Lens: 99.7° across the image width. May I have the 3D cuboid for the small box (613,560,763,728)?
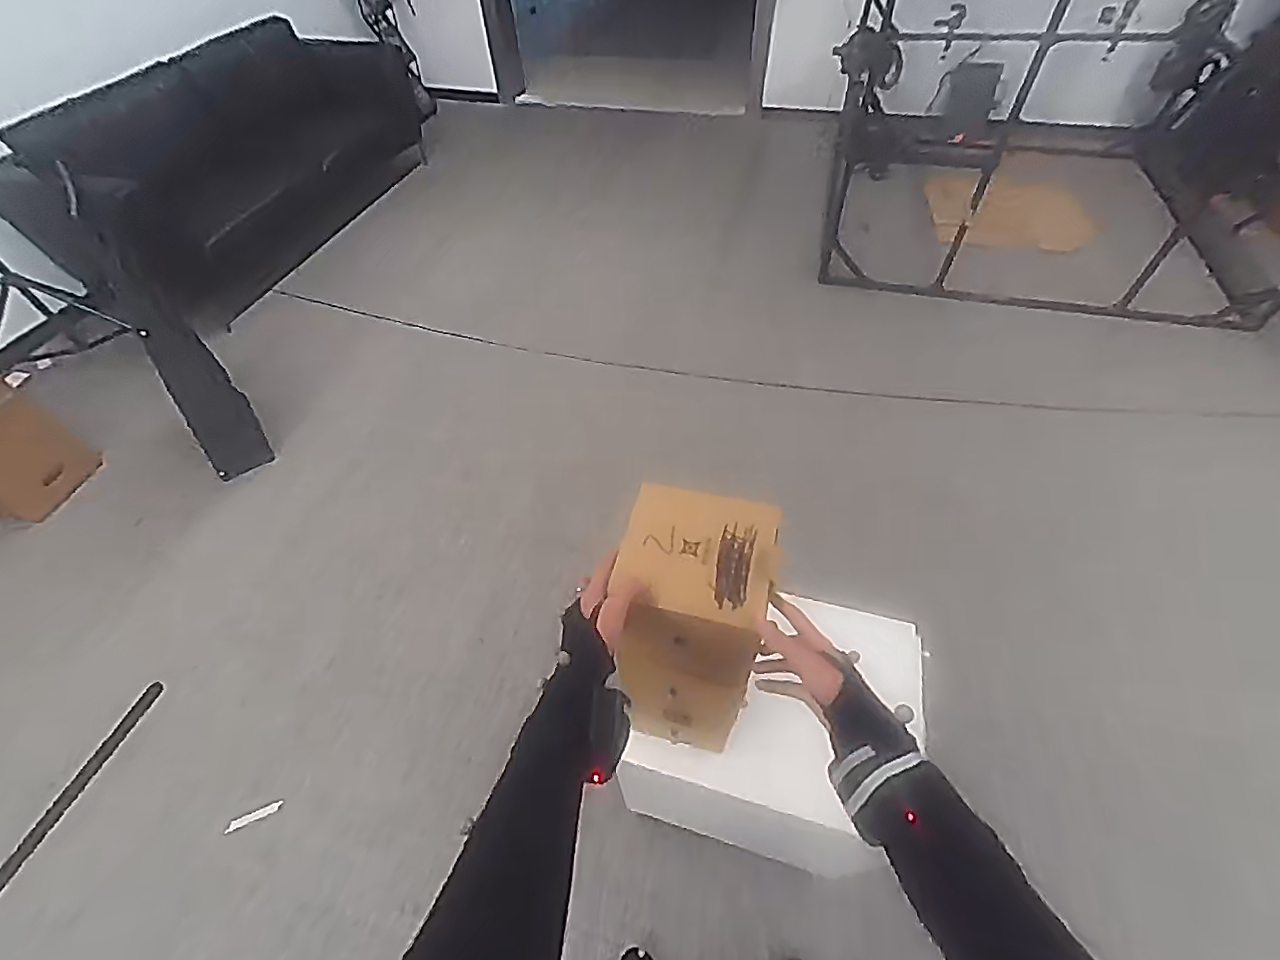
[{"bbox_3d":[0.073,0.245,0.794,0.179,0.176,0.168,11,52,12],"label":"small box"}]

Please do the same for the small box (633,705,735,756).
[{"bbox_3d":[0.084,0.344,0.925,0.168,0.176,0.179,10,52,12],"label":"small box"}]
